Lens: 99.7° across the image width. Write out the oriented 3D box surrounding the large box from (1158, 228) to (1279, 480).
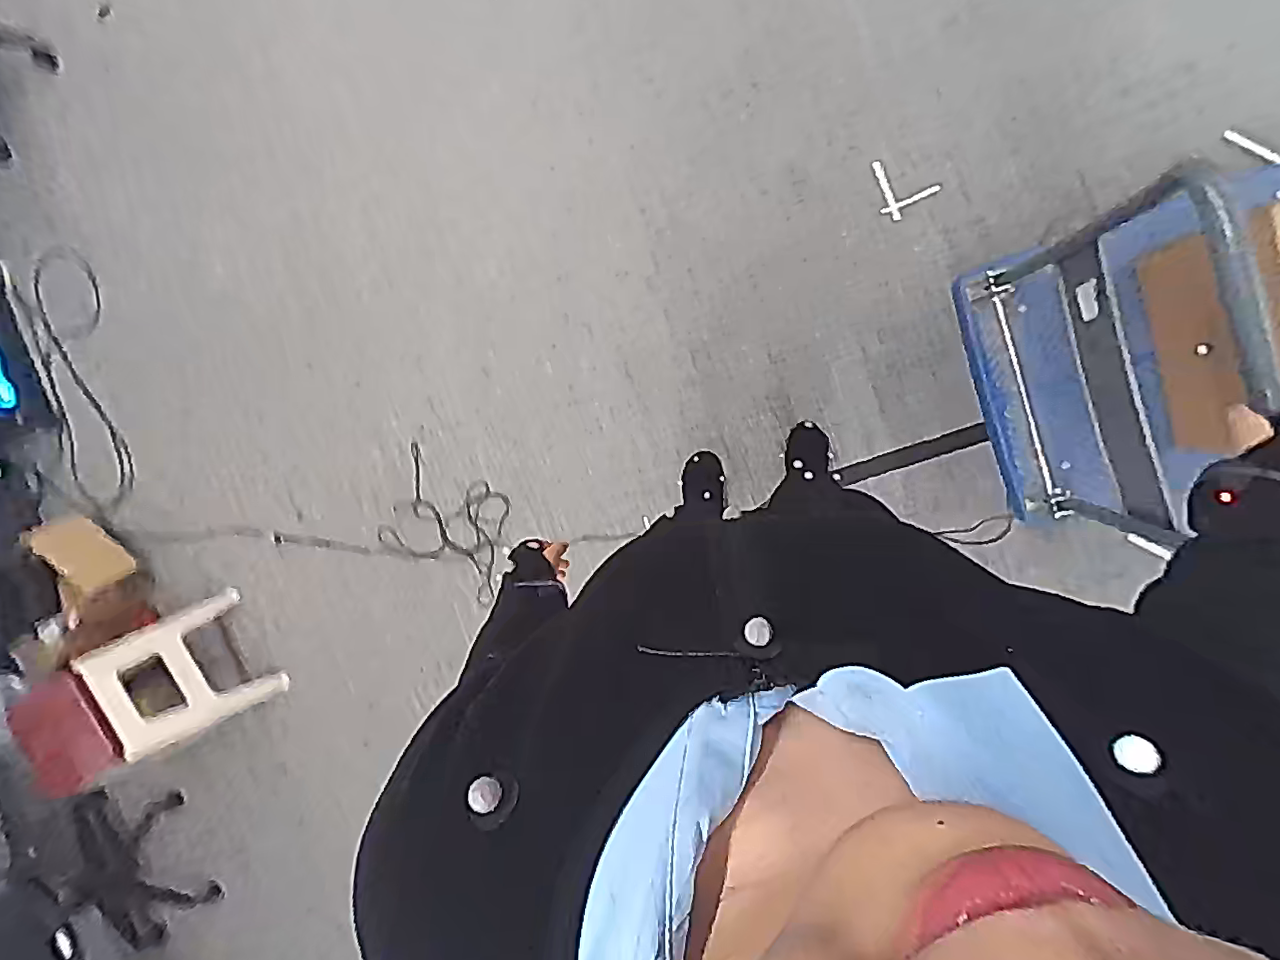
[{"bbox_3d":[1.184,-0.228,0.917,0.320,0.320,0.408,-10,94,12],"label":"large box"}]
